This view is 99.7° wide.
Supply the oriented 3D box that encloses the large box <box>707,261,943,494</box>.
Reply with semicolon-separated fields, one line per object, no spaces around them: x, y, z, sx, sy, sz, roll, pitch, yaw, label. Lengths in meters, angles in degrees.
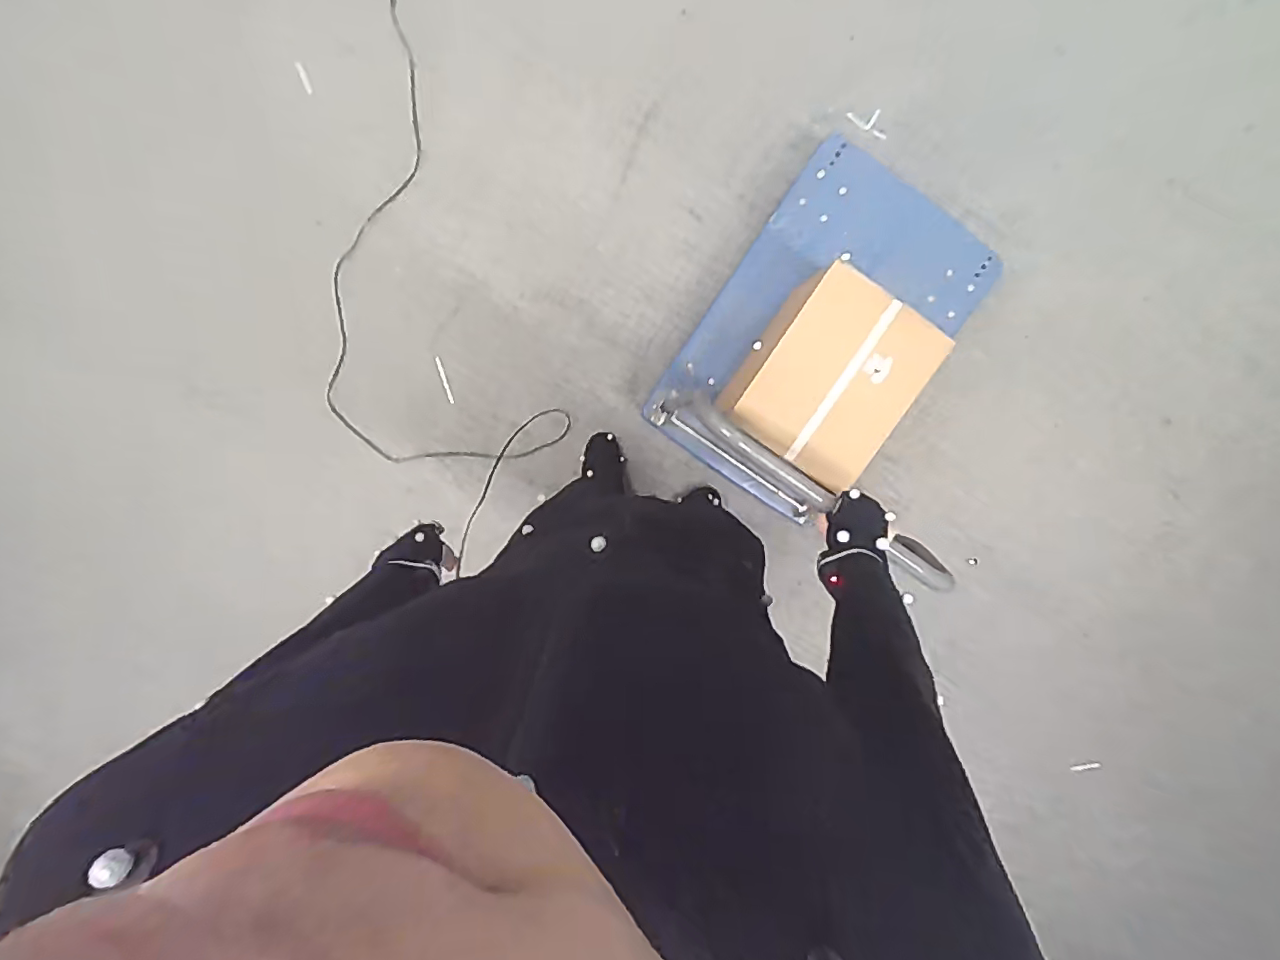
0.410;-0.227;1.300;0.320;0.320;0.408;33;95;-6;large box
